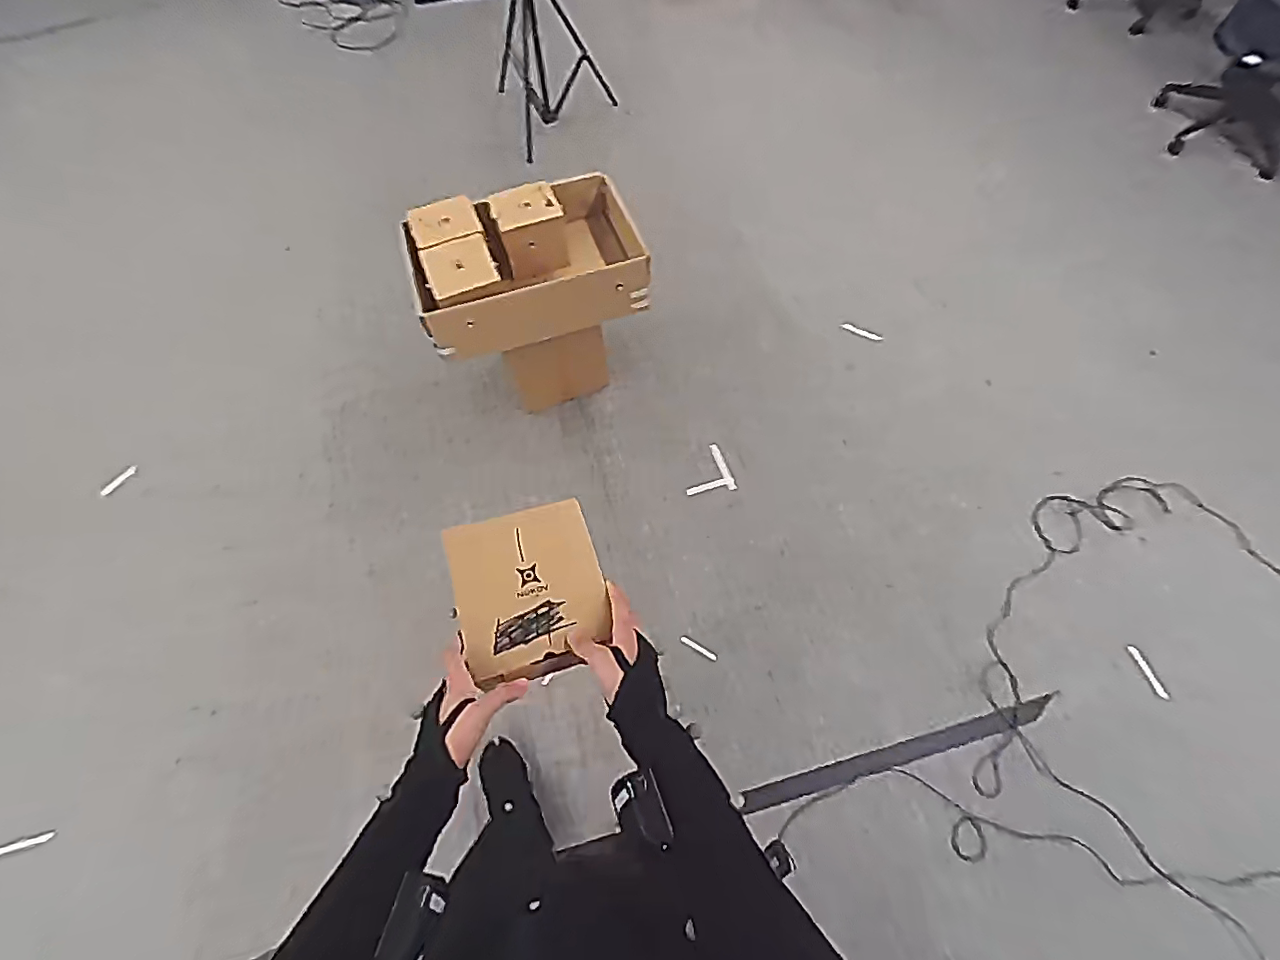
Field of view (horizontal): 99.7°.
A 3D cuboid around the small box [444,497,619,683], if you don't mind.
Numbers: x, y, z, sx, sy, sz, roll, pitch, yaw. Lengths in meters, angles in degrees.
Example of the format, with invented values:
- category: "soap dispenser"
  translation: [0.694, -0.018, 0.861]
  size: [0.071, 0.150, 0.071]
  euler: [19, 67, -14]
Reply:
- category: "small box"
  translation: [-0.136, 0.145, 0.679]
  size: [0.168, 0.176, 0.179]
  euler: [-13, 69, -17]
